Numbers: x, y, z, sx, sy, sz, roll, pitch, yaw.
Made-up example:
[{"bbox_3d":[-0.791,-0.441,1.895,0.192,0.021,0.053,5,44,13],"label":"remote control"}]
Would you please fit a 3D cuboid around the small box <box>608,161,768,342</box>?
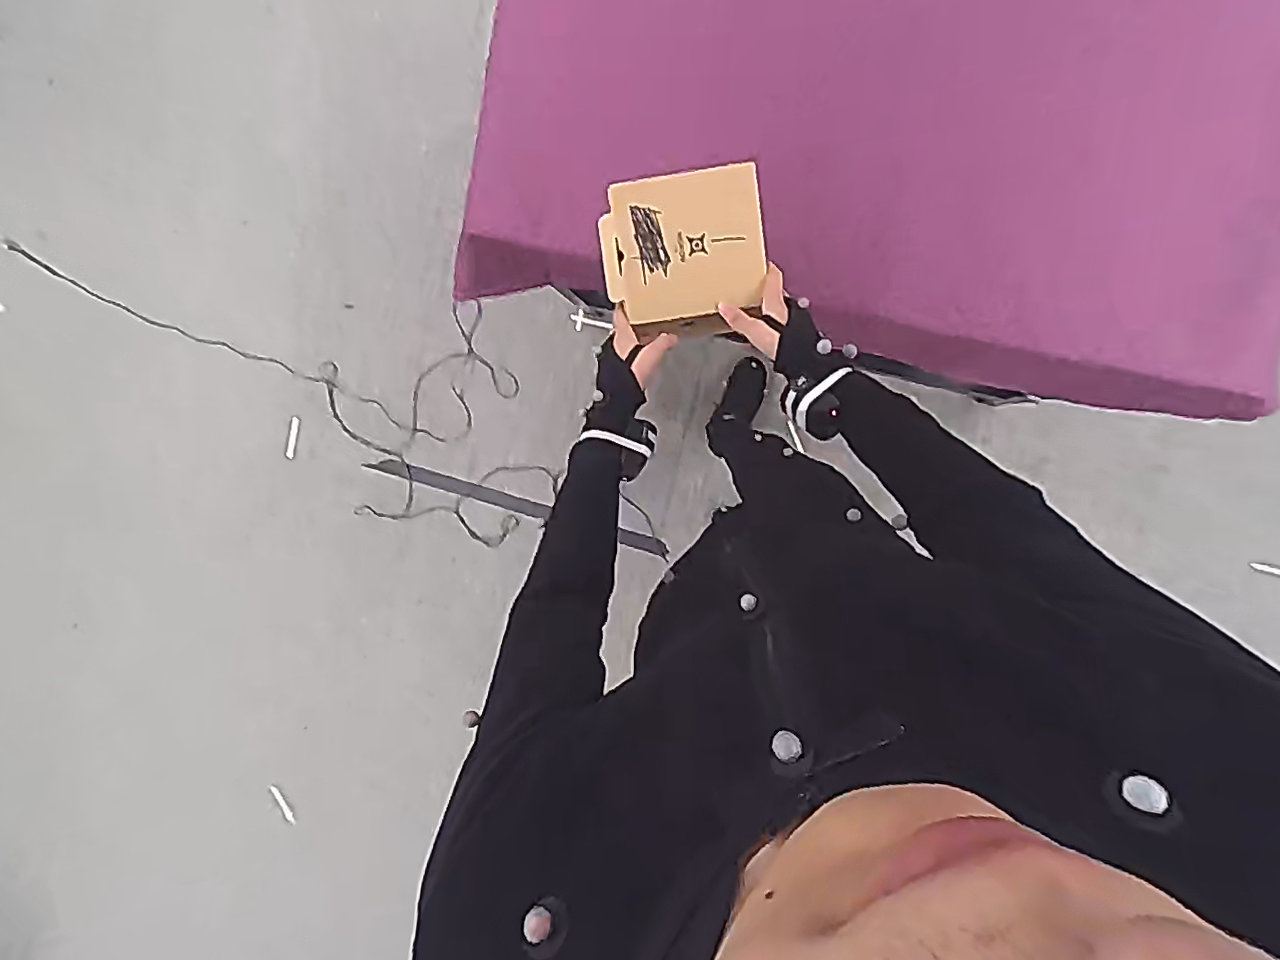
[{"bbox_3d":[0.061,-0.287,0.719,0.179,0.176,0.168,-8,95,2],"label":"small box"}]
